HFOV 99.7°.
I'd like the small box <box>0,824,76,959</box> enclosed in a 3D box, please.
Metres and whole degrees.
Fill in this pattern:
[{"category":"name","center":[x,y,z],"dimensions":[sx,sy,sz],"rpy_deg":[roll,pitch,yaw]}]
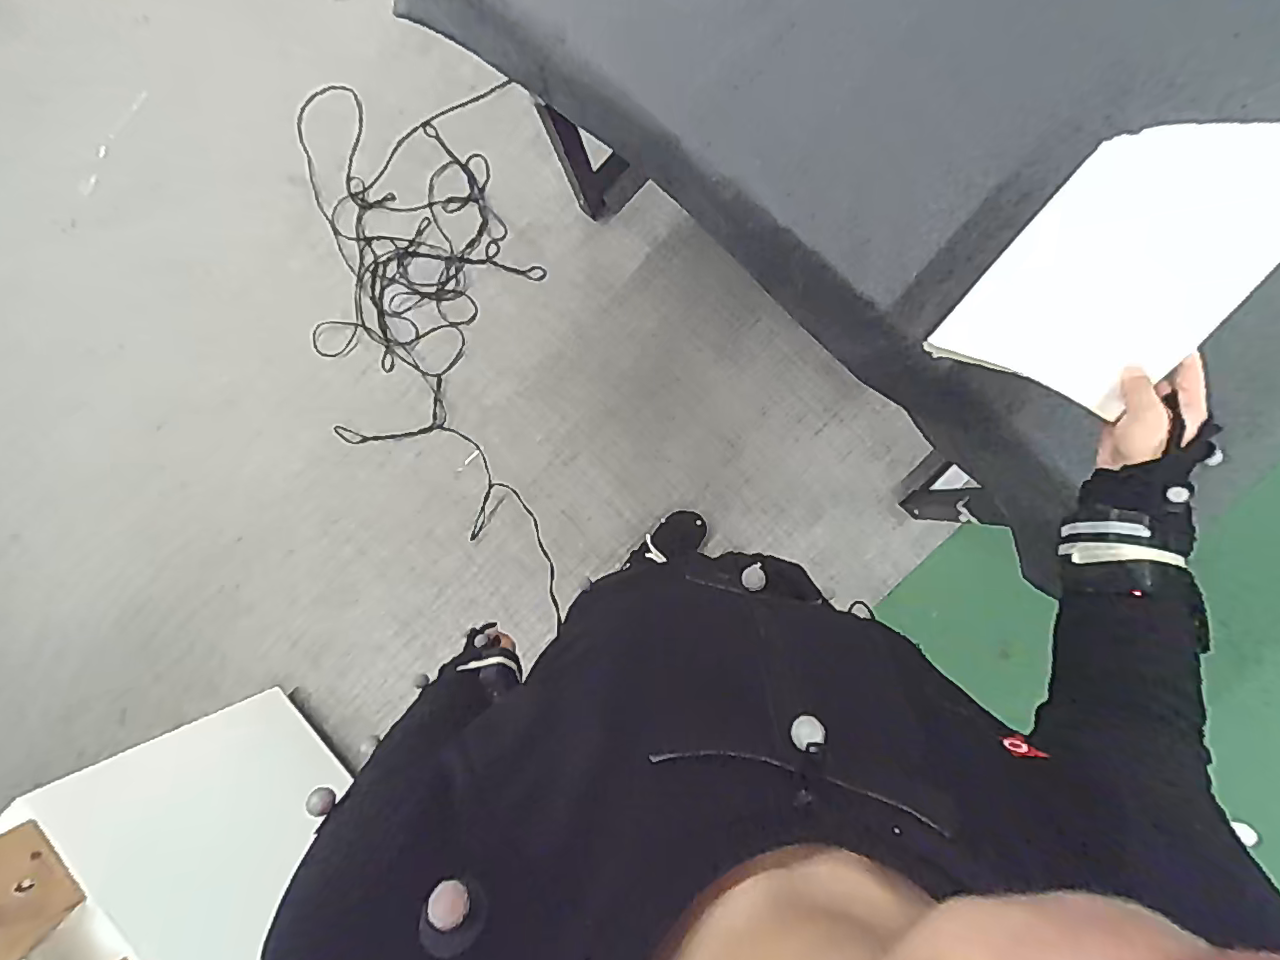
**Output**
[{"category":"small box","center":[-1.034,0.680,0.816],"dimensions":[0.179,0.176,0.168],"rpy_deg":[-44,83,4]}]
